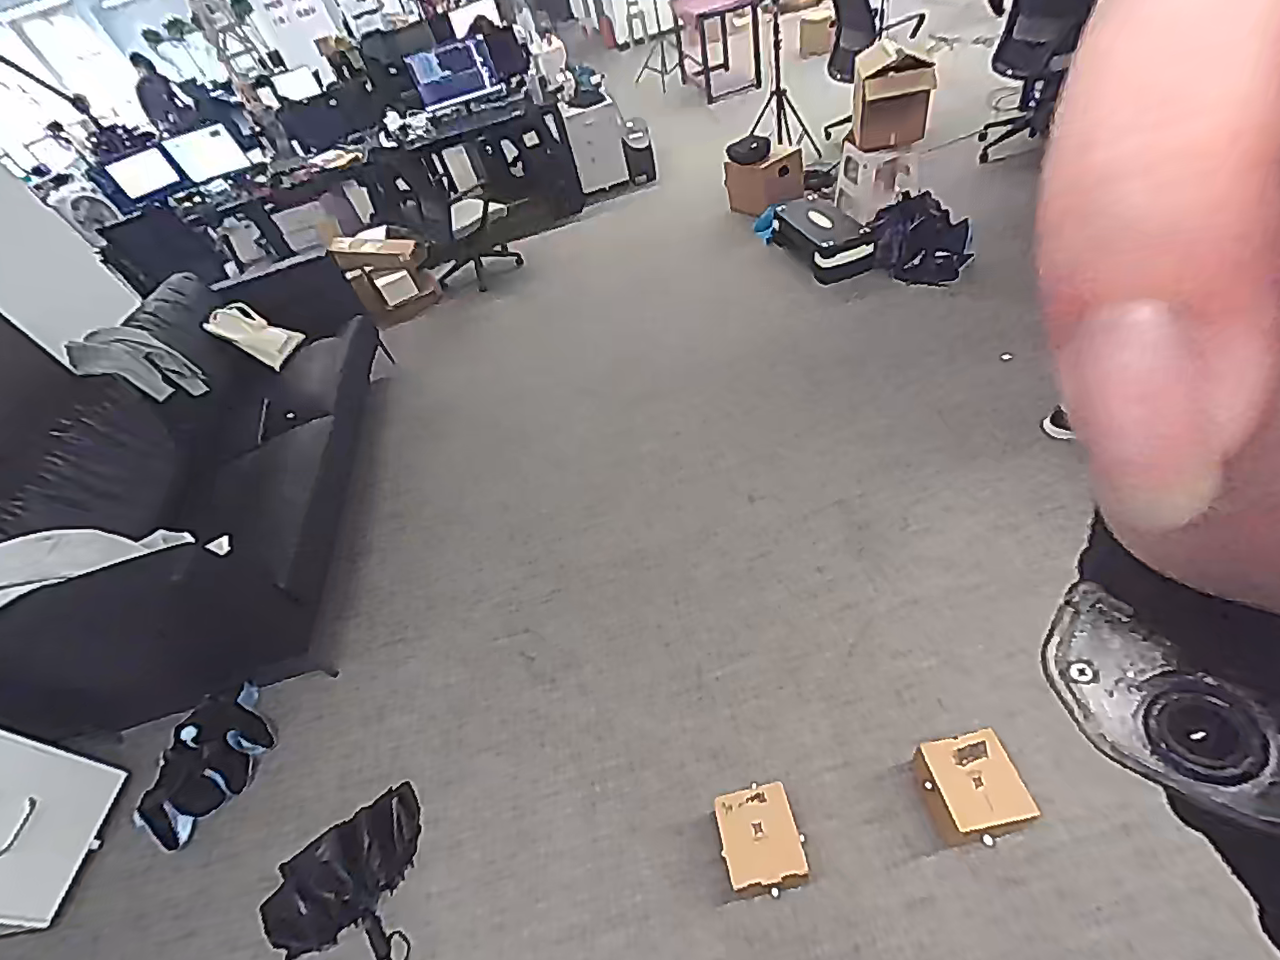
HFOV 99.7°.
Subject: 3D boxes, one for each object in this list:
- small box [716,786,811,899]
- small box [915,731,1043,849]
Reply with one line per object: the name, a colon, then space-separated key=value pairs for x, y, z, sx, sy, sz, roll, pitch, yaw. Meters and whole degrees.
small box: x=0.283 y=0.828 z=1.229 sx=0.168 sy=0.176 sz=0.179 roll=-16 pitch=45 yaw=4
small box: x=0.739 y=0.693 z=1.206 sx=0.168 sy=0.176 sz=0.179 roll=-16 pitch=46 yaw=4
